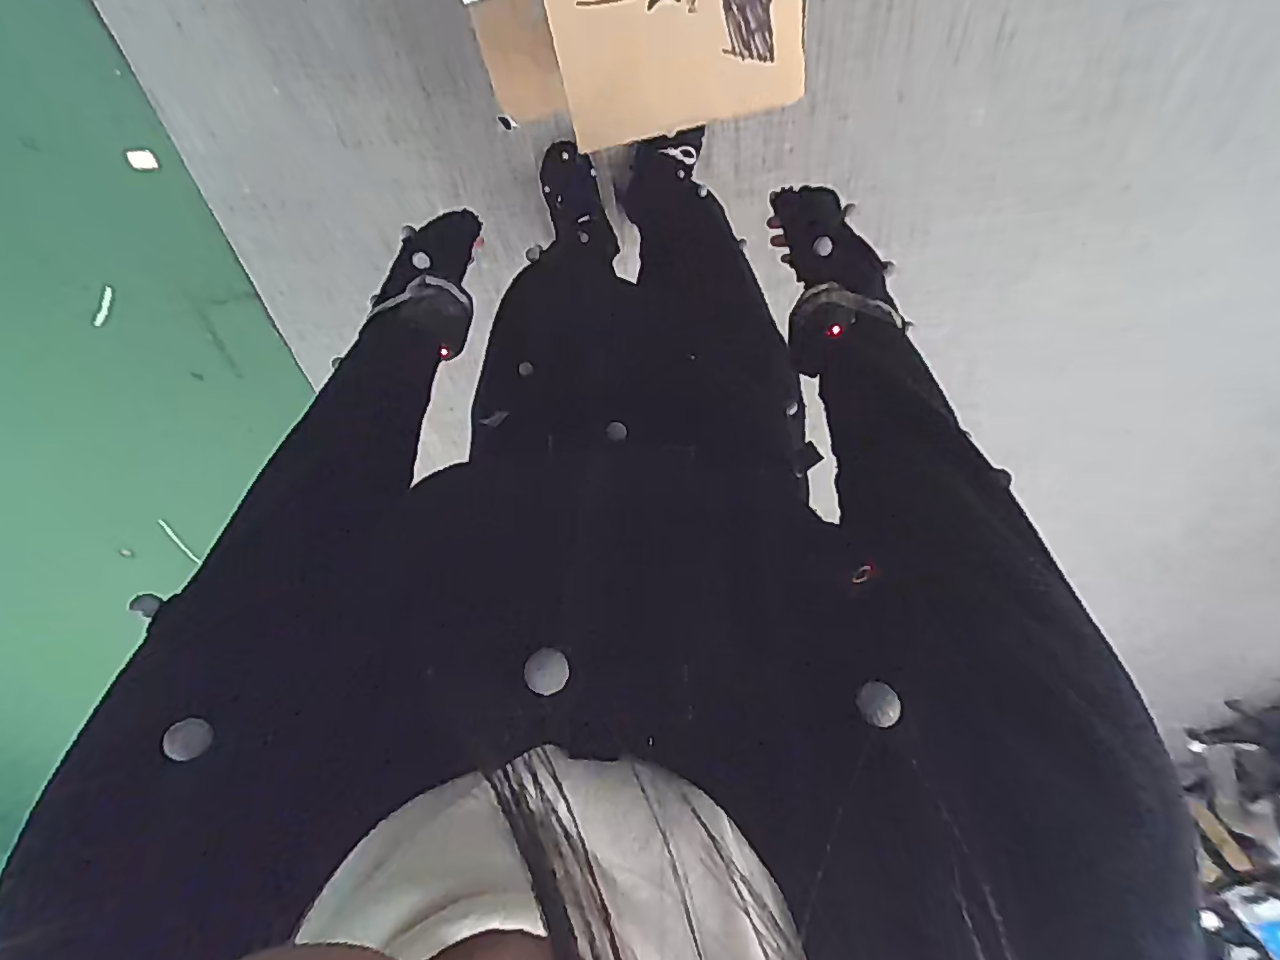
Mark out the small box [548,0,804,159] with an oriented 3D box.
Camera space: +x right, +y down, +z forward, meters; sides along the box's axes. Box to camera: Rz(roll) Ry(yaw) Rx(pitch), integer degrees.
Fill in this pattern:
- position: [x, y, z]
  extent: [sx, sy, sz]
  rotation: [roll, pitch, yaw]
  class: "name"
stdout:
- position: [0.019, -0.381, 0.429]
  extent: [0.179, 0.176, 0.168]
  rotation: [-11, 130, 4]
  class: "small box"
